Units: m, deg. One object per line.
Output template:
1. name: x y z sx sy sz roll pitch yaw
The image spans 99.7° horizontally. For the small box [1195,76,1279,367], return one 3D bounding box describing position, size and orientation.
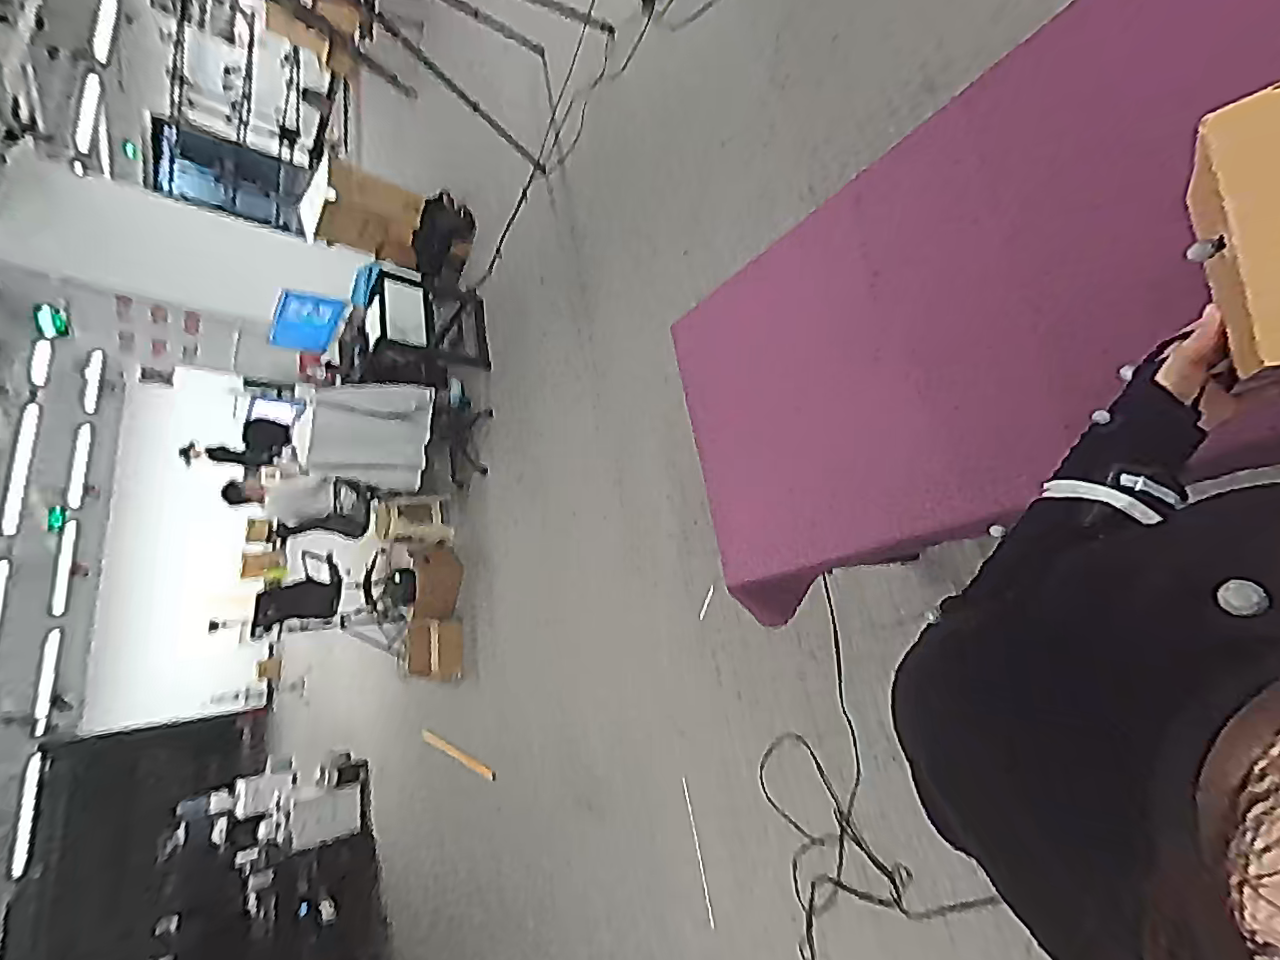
1. small box: 0.503 -0.181 0.360 0.168 0.176 0.179 -13 84 44
